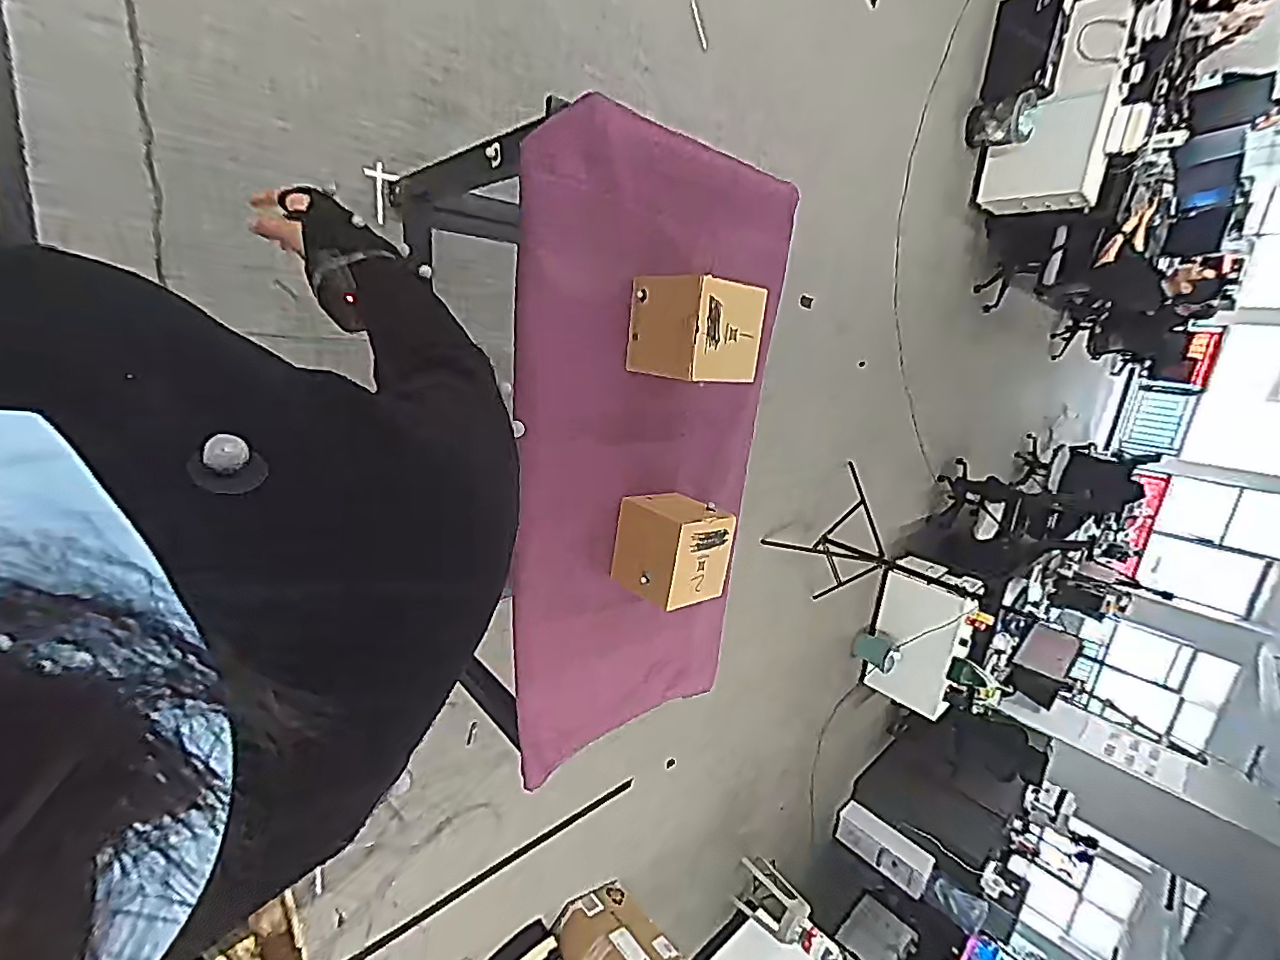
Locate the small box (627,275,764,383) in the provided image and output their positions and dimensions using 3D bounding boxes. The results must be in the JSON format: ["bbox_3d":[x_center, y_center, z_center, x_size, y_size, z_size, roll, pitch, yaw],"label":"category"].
[{"bbox_3d":[0.095,-0.270,0.980,0.179,0.176,0.168,-8,111,-42],"label":"small box"}]

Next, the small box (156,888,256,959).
[{"bbox_3d":[-1.083,1.190,1.352,0.179,0.176,0.168,-15,116,-39],"label":"small box"}]
